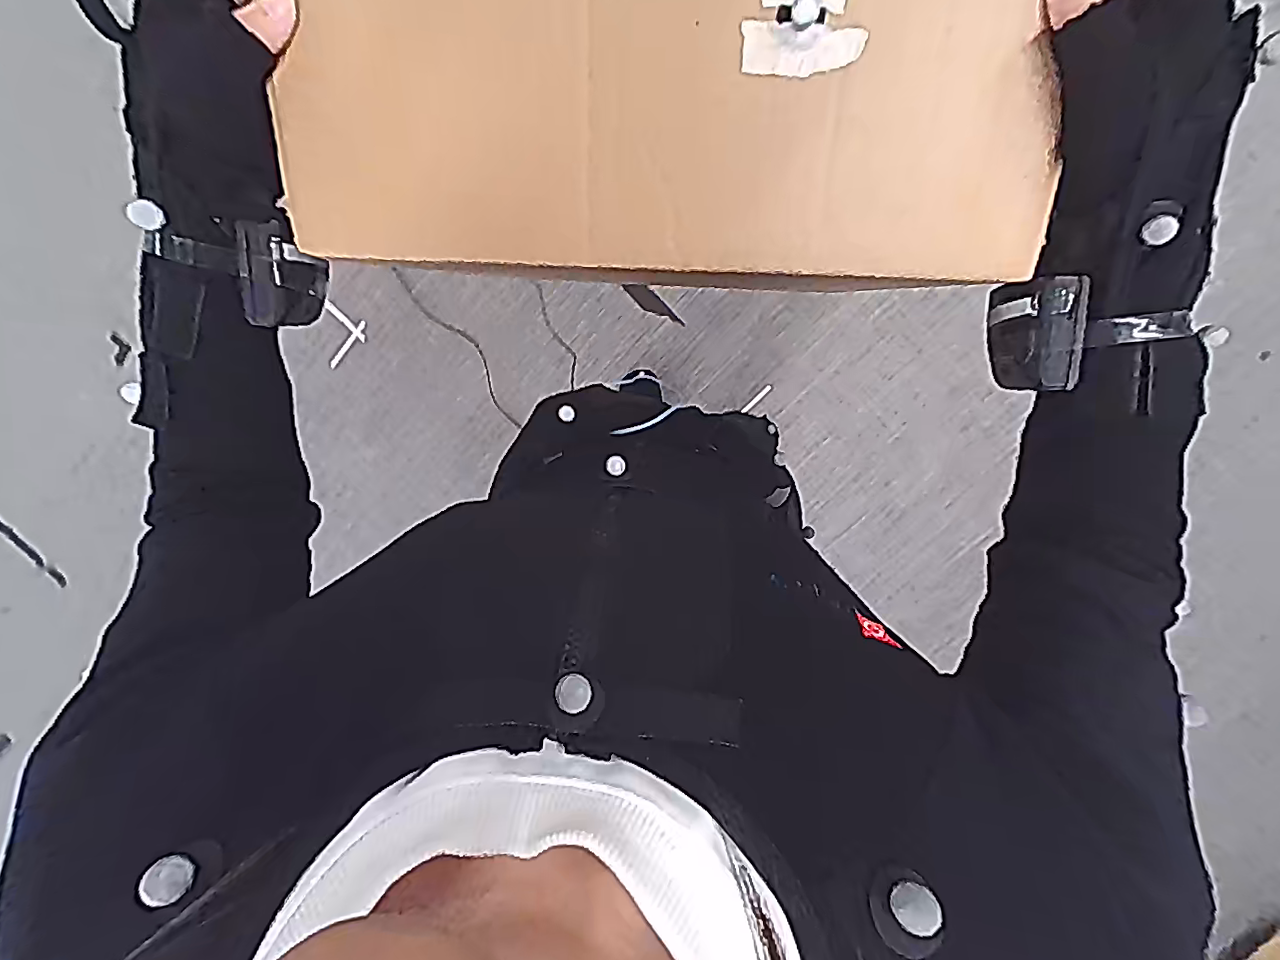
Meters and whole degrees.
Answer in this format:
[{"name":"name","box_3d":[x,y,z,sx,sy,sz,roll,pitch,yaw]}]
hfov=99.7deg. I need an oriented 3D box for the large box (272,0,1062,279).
[{"name":"large box","box_3d":[0.014,-0.322,0.402,0.408,0.320,0.320,2,109,2]}]
